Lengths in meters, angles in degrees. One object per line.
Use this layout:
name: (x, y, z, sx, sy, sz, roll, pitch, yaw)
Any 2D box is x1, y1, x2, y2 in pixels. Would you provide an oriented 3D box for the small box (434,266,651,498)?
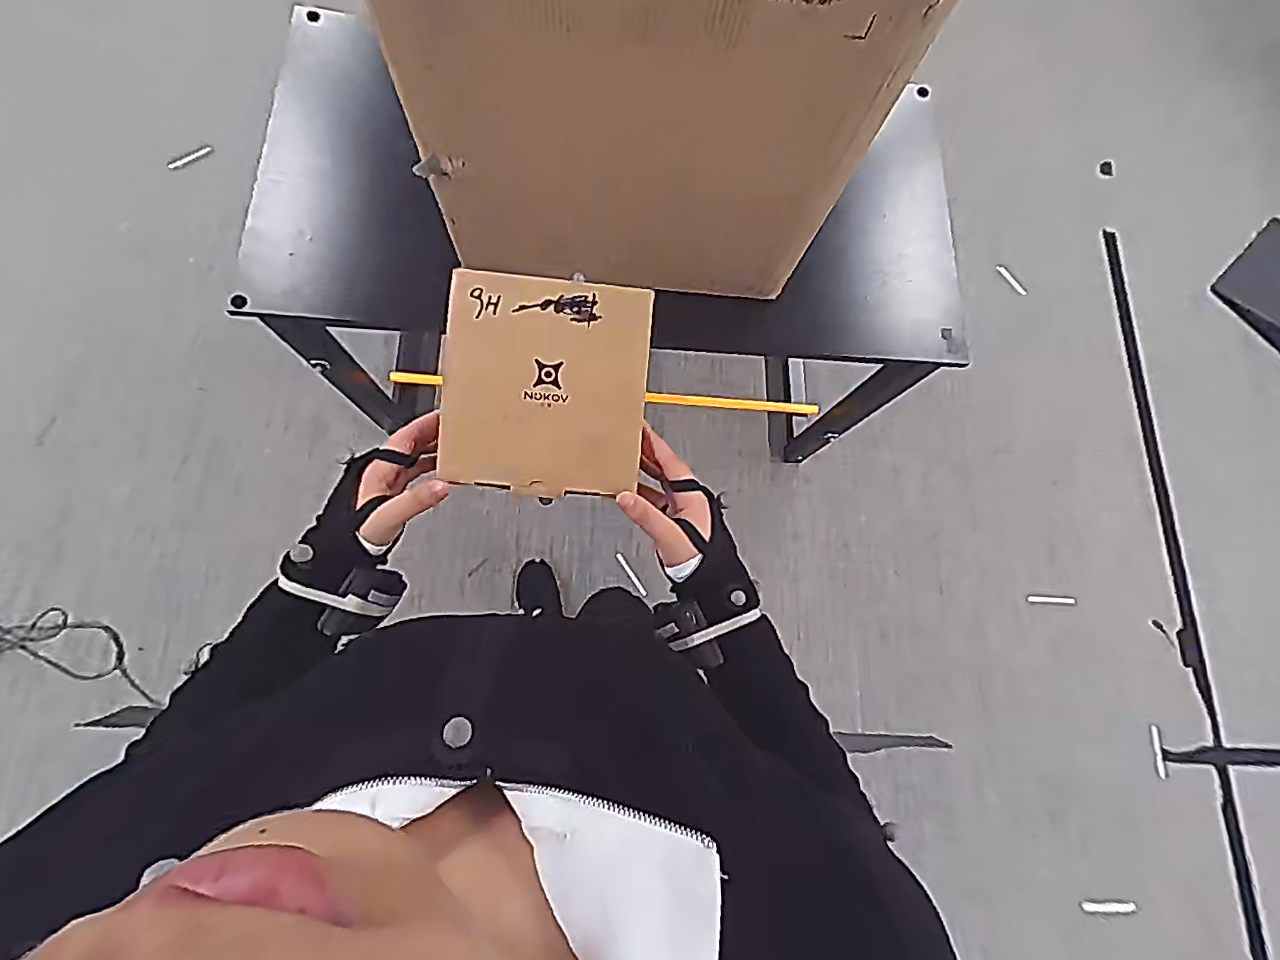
small box: (-0.083, -0.082, 0.520, 0.168, 0.176, 0.179, 5, 91, -4)
